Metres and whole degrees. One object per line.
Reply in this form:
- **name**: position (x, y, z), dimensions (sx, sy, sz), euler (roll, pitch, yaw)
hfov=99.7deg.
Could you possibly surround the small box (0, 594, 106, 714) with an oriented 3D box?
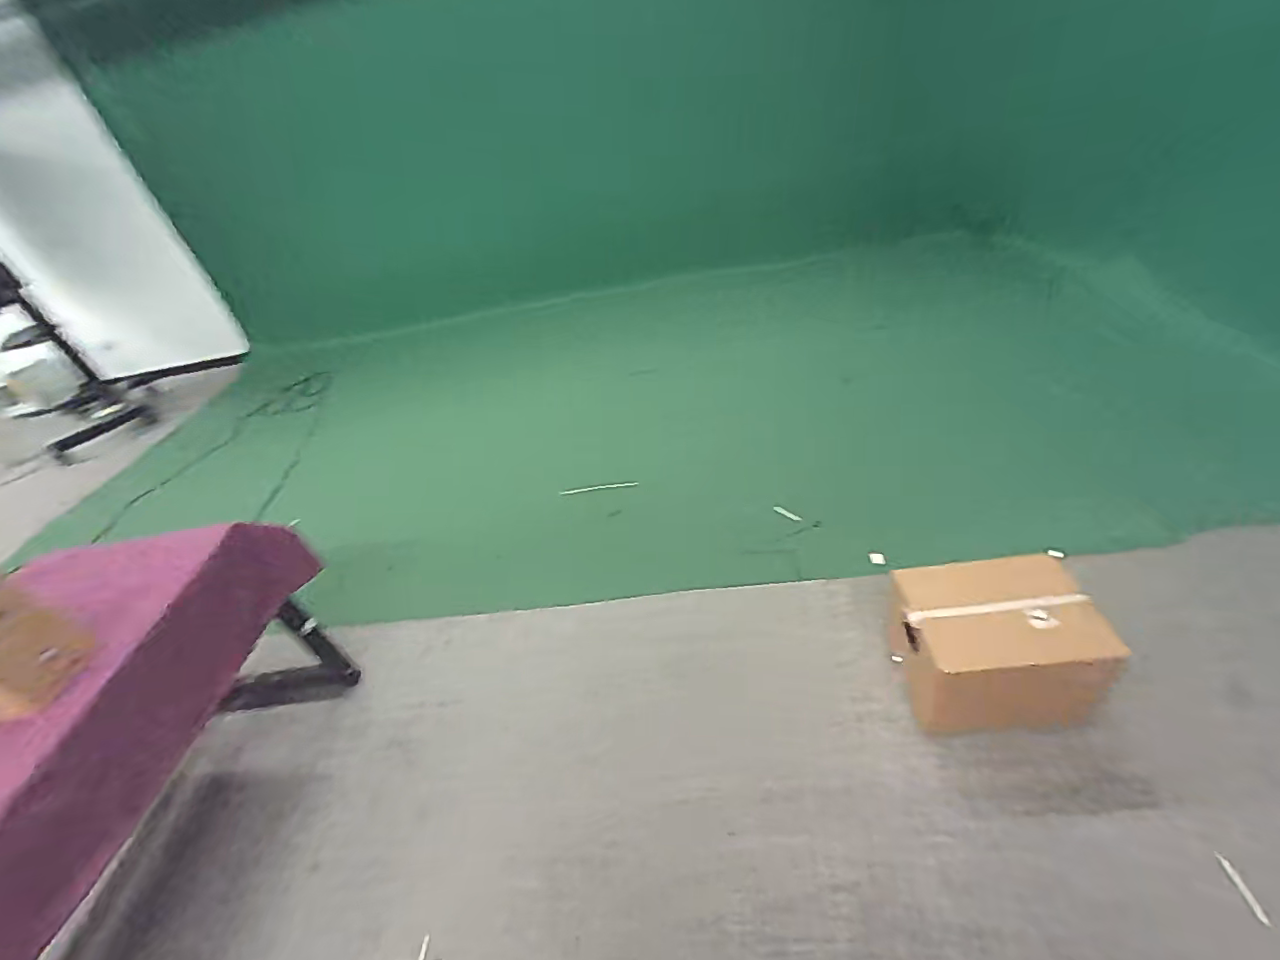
- **small box**: position (-1.268, 0.355, 1.095), dimensions (0.179, 0.176, 0.168), euler (-8, 39, 7)

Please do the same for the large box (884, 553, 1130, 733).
- **large box**: position (0.908, 0.426, 1.411), dimensions (0.408, 0.320, 0.320), euler (-7, 38, 6)
